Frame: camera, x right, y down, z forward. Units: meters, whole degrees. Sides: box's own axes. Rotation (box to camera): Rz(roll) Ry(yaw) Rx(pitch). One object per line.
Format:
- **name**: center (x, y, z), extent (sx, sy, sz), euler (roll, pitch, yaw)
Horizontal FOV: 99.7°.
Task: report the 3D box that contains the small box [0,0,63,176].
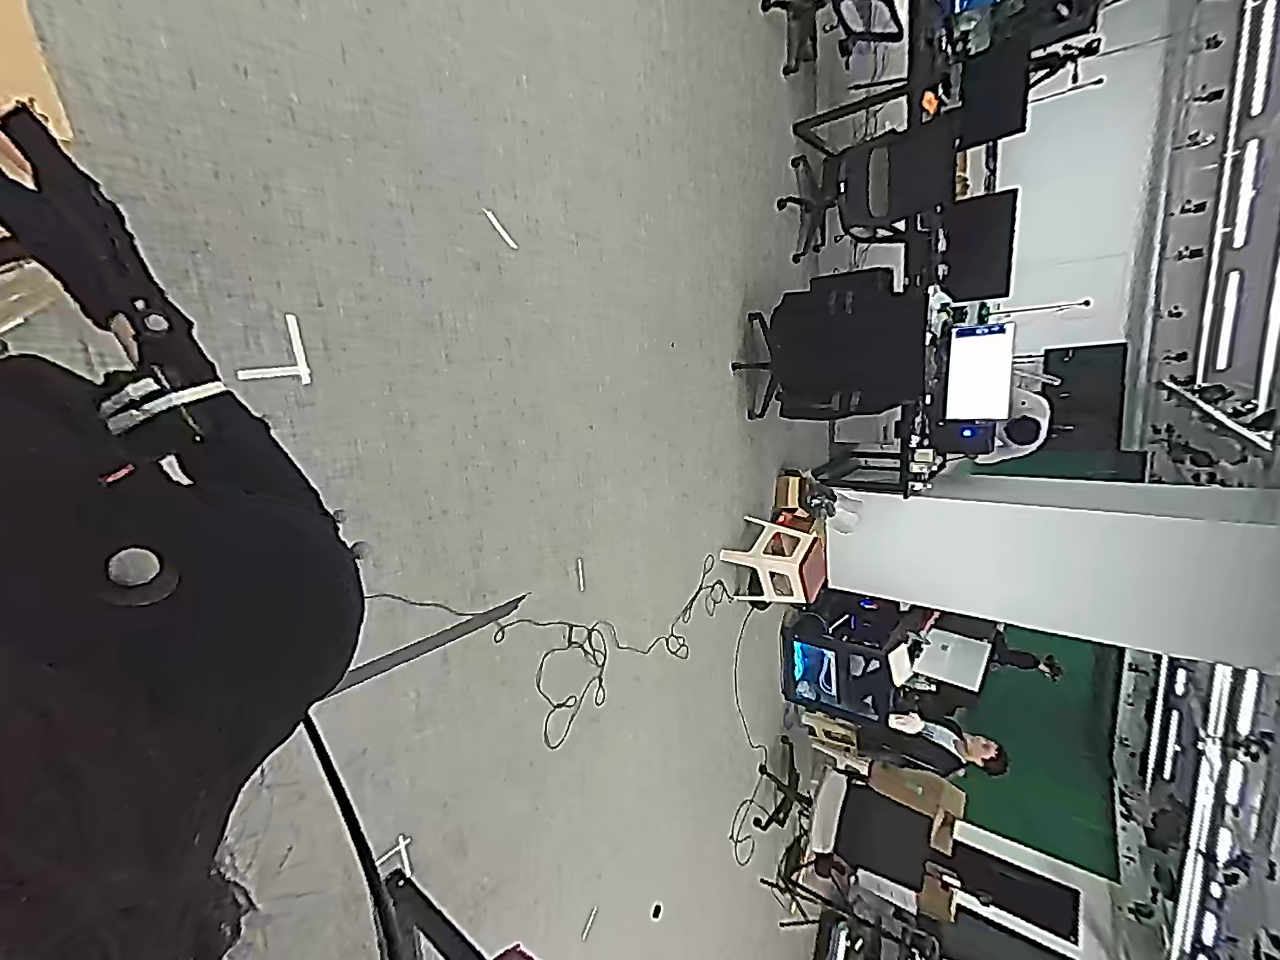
- **small box**: center (-0.771, -0.455, 0.574), extent (0.168, 0.176, 0.179), euler (-24, 111, -50)
